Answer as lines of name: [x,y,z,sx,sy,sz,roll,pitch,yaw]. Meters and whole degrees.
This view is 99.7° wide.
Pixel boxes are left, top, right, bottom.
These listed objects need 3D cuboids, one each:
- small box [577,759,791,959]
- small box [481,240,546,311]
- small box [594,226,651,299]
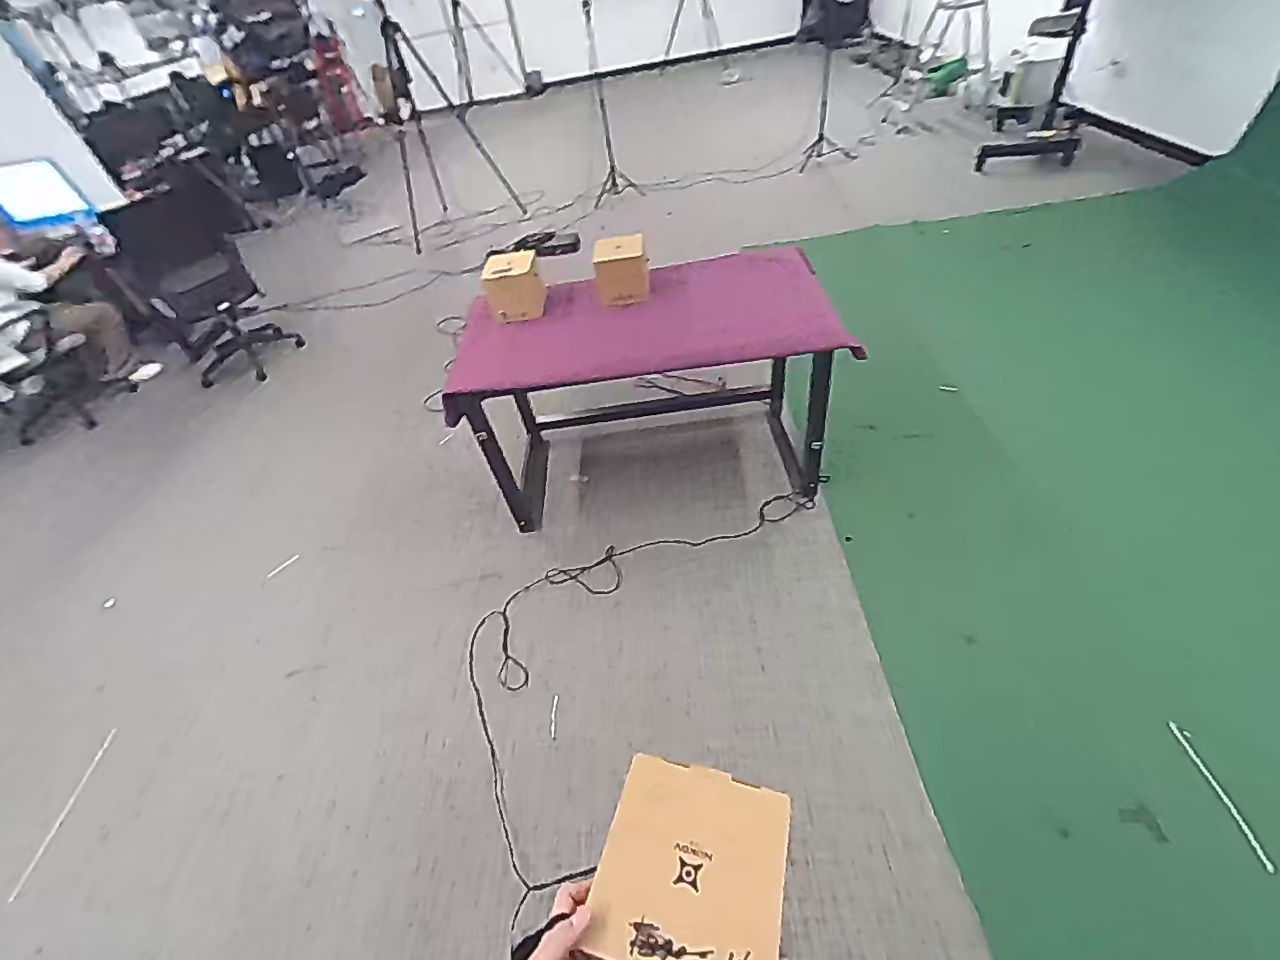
small box: [0.049,0.425,0.539,0.168,0.176,0.179,8,35,15]
small box: [-0.429,-0.699,1.863,0.168,0.176,0.179,-5,47,5]
small box: [-0.054,-0.740,1.843,0.168,0.176,0.179,-4,48,7]
